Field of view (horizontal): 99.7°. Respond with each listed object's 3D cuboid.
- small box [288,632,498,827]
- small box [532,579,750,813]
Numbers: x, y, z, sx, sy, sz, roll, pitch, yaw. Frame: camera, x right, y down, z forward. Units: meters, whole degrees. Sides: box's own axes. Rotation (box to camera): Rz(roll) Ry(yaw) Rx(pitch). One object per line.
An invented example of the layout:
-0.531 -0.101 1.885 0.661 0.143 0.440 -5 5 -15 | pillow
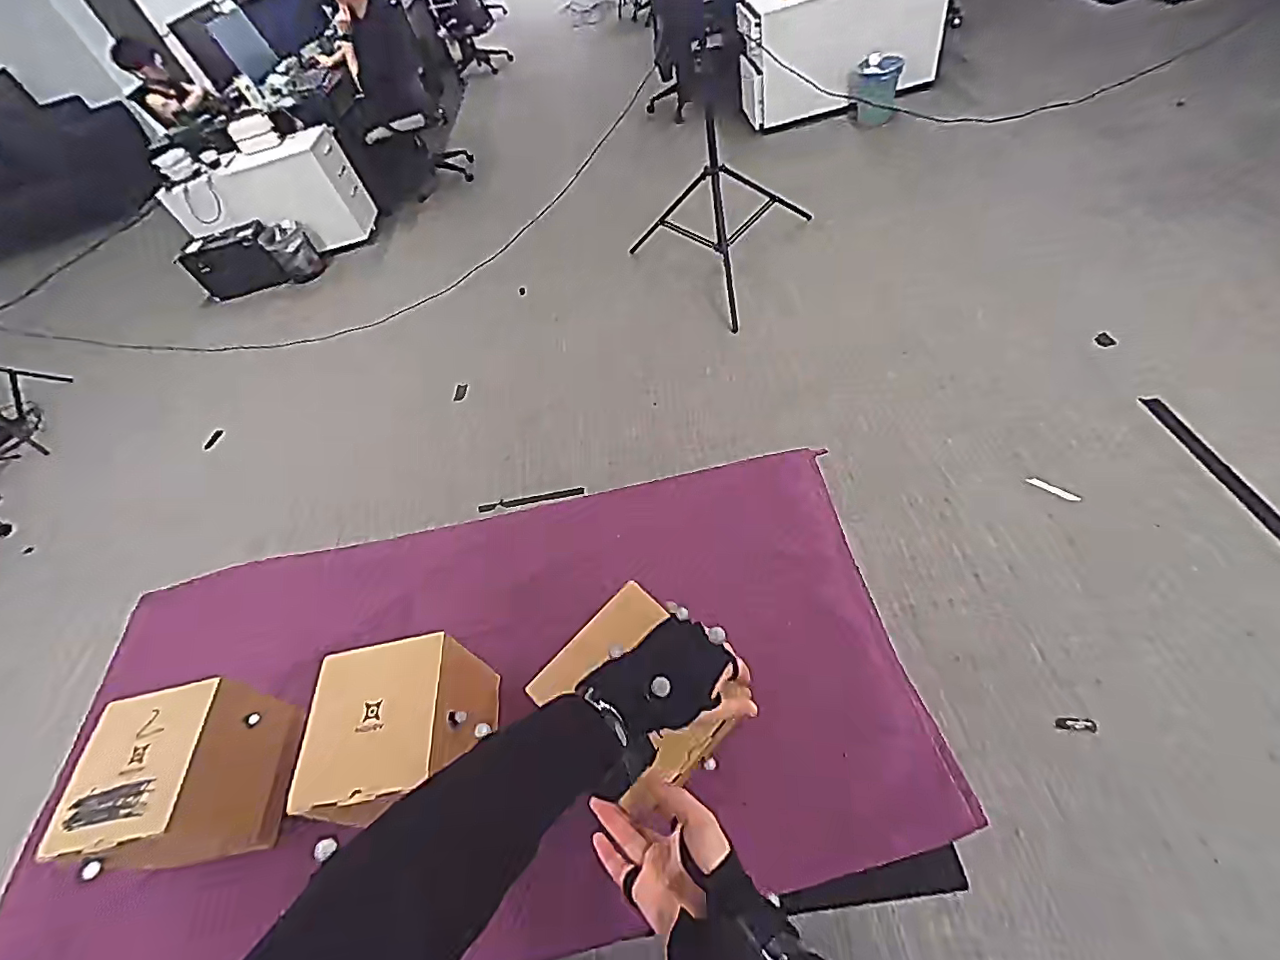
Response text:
-0.292 0.320 0.686 0.168 0.176 0.179 -13 51 5 | small box
0.009 0.252 0.630 0.168 0.176 0.179 -41 62 -12 | small box
